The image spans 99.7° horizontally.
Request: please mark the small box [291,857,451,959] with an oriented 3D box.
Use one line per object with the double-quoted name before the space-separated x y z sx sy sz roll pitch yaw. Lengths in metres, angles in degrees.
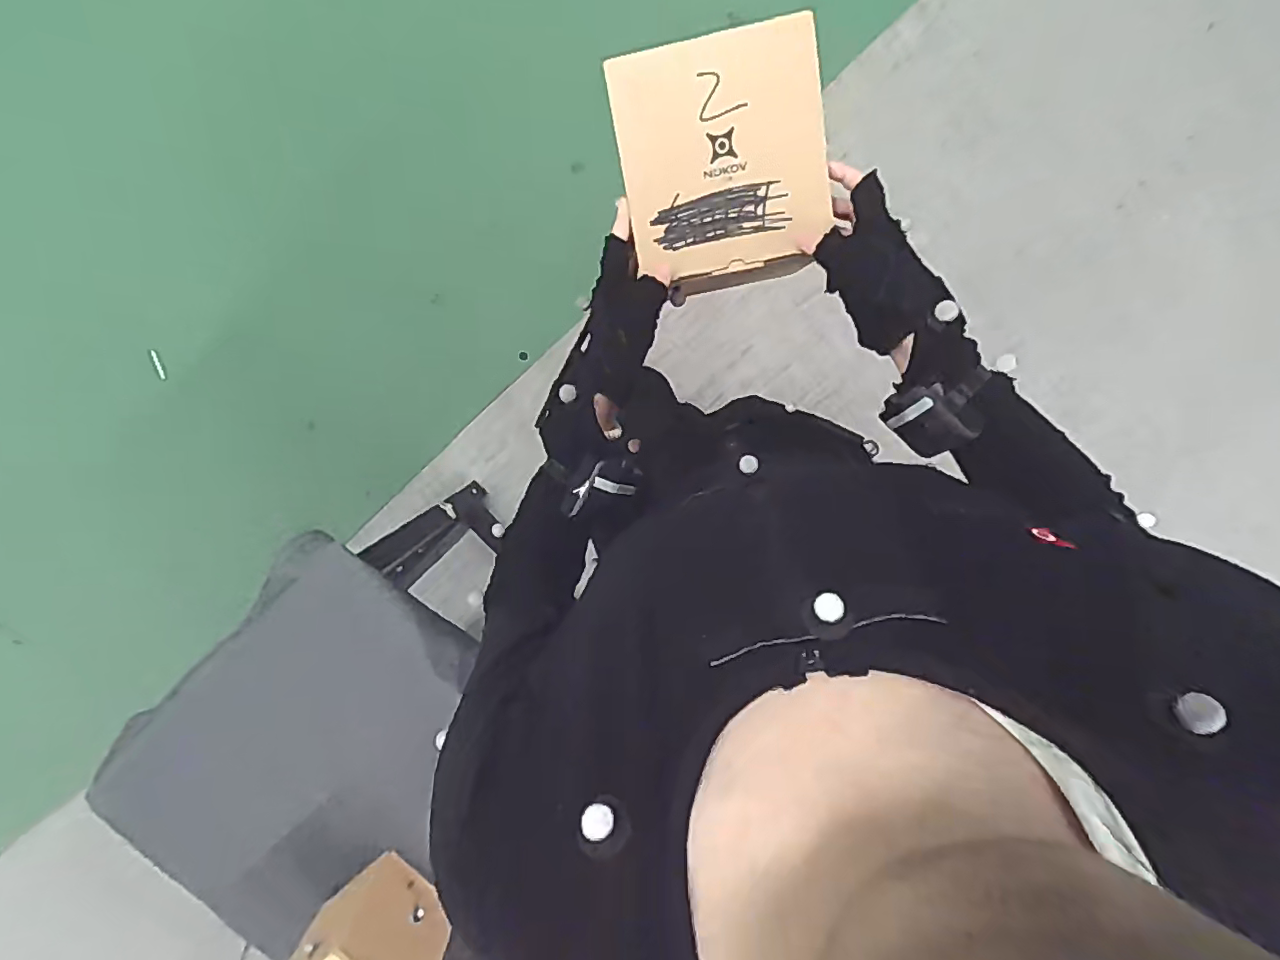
"small box" -0.432 0.754 0.846 0.179 0.176 0.168 -42 97 8
